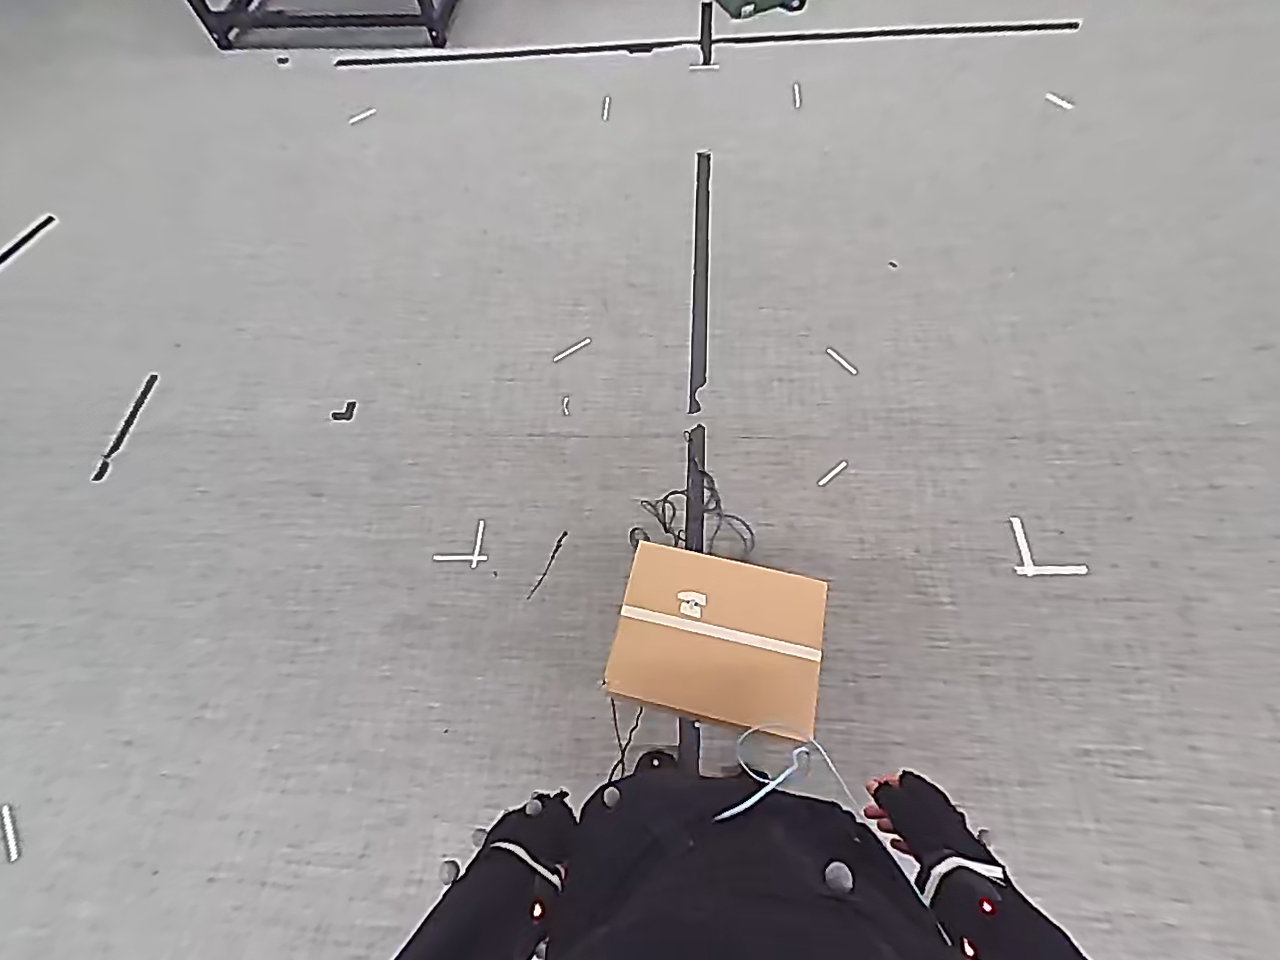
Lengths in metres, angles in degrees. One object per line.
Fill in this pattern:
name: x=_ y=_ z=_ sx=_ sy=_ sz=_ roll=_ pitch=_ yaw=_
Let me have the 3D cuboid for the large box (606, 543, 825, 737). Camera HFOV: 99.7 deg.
large box: x=0.167 y=0.371 z=1.223 sx=0.408 sy=0.320 sz=0.320 roll=12 pitch=65 yaw=8
